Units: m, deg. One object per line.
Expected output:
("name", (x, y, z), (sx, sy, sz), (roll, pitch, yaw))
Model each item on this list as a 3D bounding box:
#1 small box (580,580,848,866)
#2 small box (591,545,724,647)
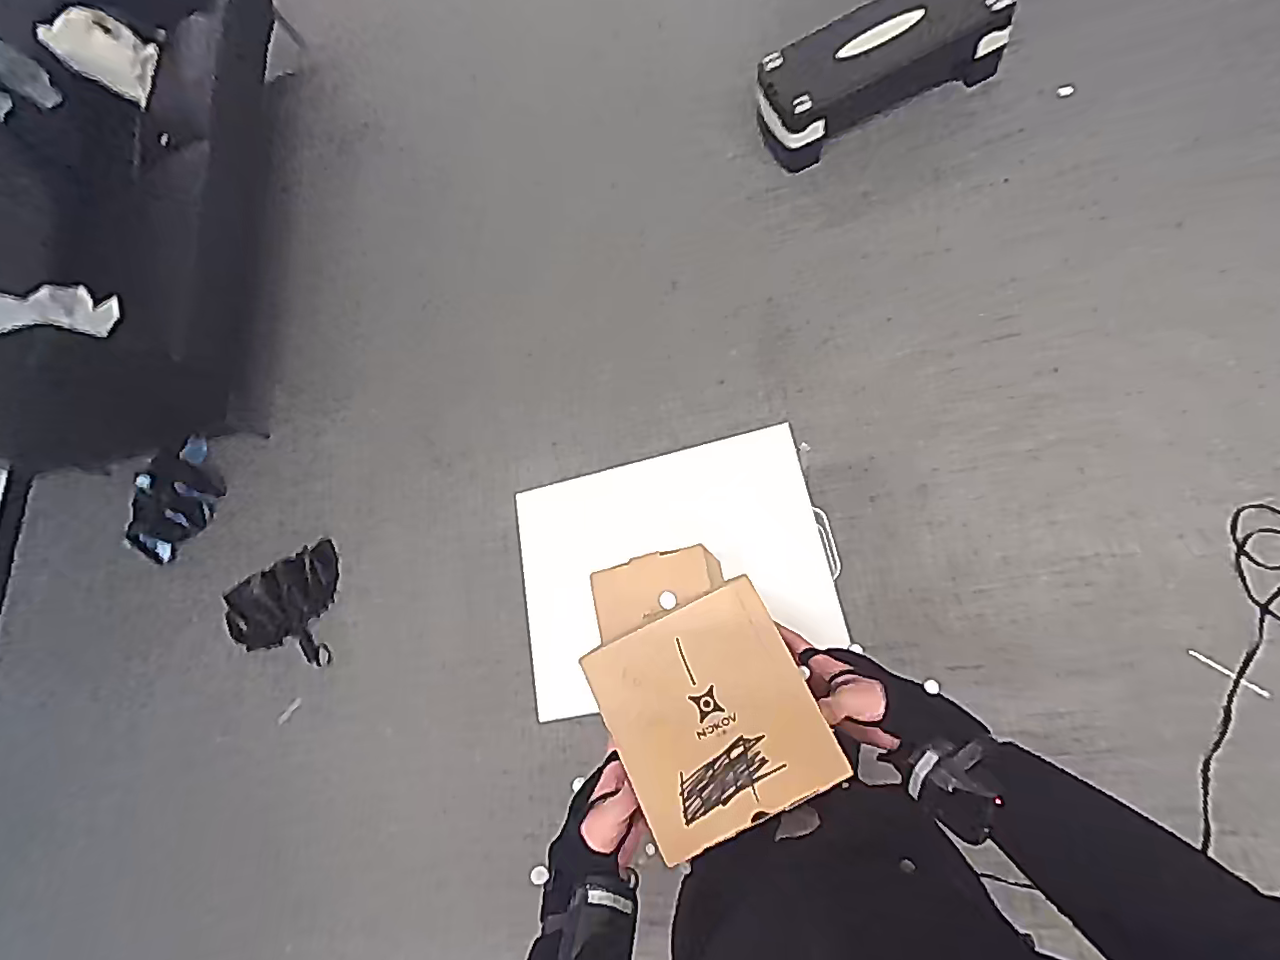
("small box", (0.064, 0.211, 0.523), (0.168, 0.176, 0.179), (-27, 77, -3))
("small box", (0.045, 0.212, 0.784), (0.168, 0.176, 0.179), (-17, 69, 11))
